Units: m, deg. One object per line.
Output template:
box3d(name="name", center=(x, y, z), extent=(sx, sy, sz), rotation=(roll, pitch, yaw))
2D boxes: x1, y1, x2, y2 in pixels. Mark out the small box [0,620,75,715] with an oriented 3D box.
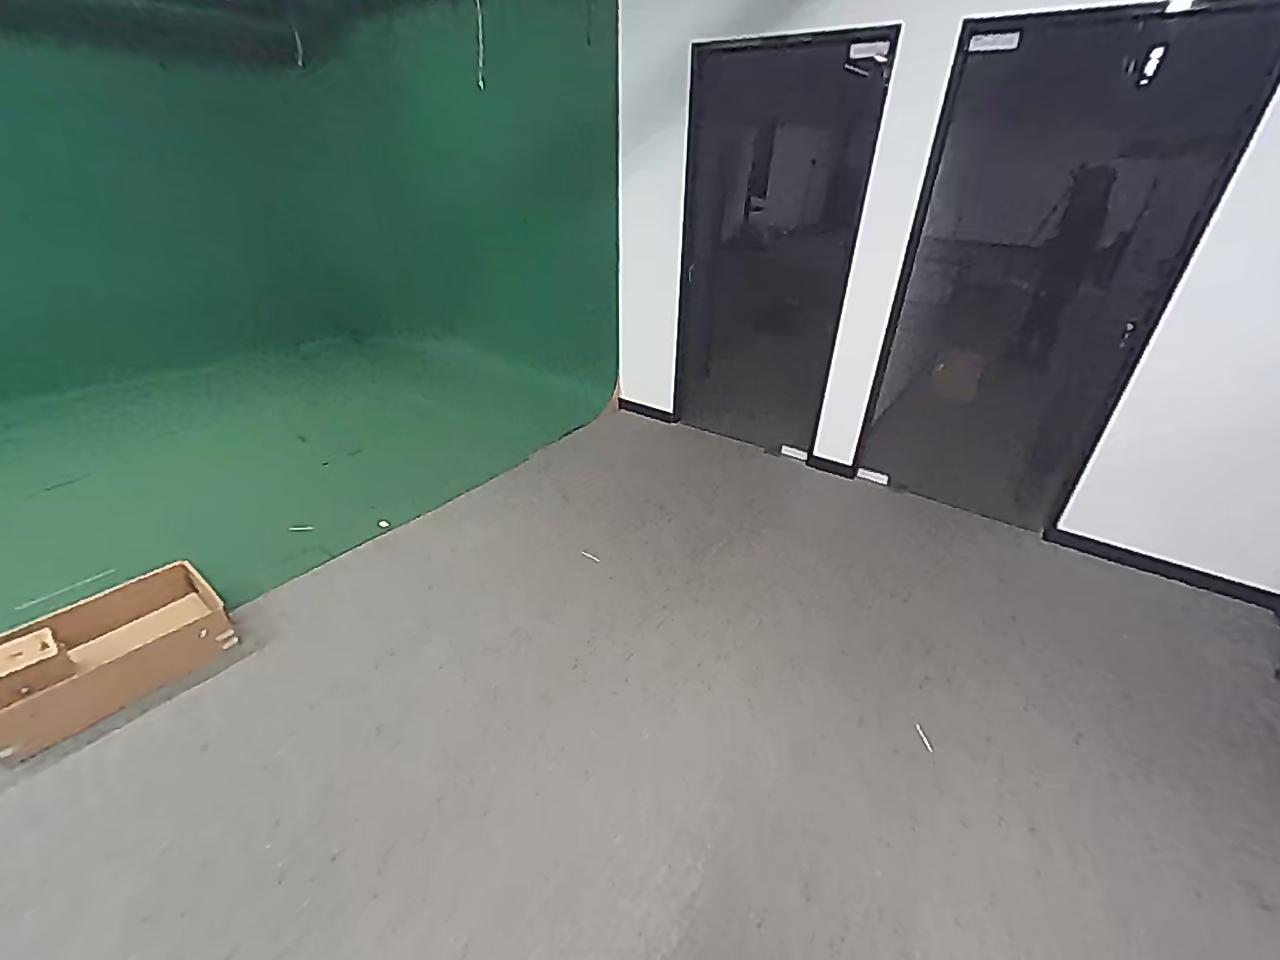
box3d(name="small box", center=(-1.894, 0.573, 1.648), extent=(0.168, 0.176, 0.179), rotation=(25, 38, 31))
